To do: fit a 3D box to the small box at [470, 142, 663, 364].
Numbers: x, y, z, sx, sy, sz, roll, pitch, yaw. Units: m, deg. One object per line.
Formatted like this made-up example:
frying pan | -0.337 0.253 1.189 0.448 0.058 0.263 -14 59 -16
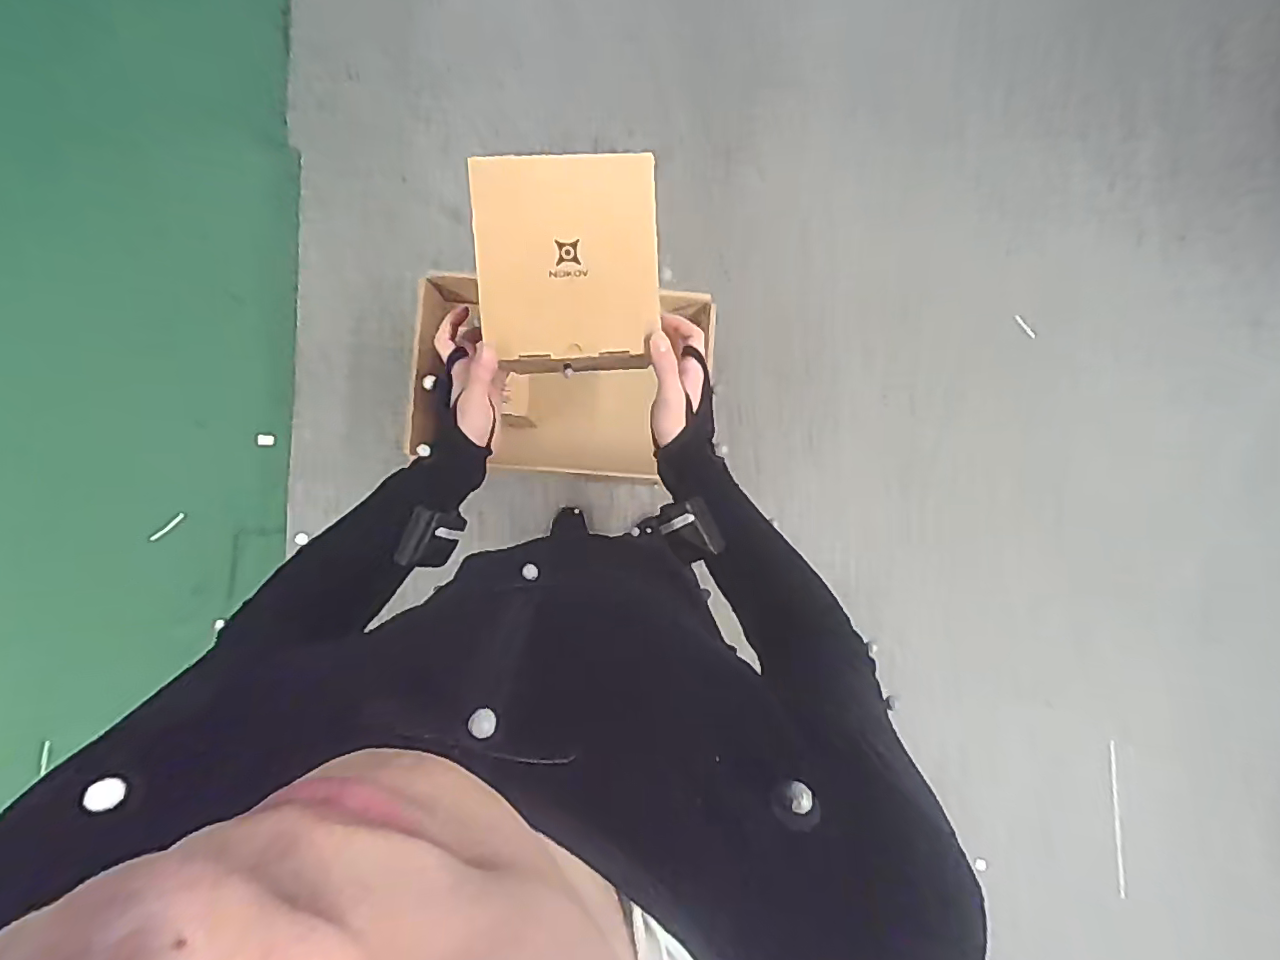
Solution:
small box | -0.070 -0.217 0.558 0.168 0.176 0.179 -3 99 -4
